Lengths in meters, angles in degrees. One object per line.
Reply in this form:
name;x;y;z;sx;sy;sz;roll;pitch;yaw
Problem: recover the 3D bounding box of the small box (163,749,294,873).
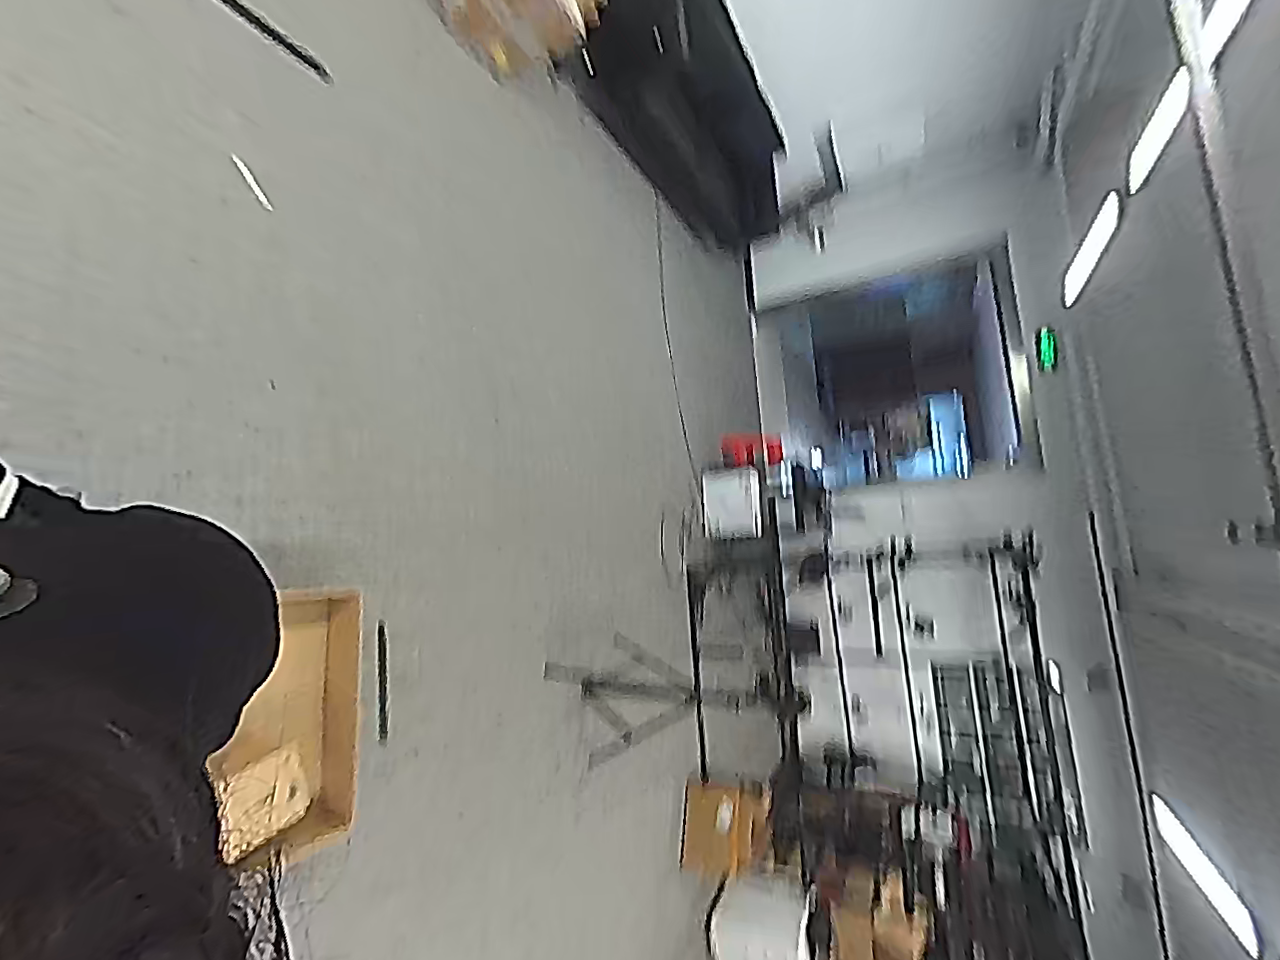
small box;-0.920;0.726;1.206;0.179;0.176;0.168;-11;92;-64
